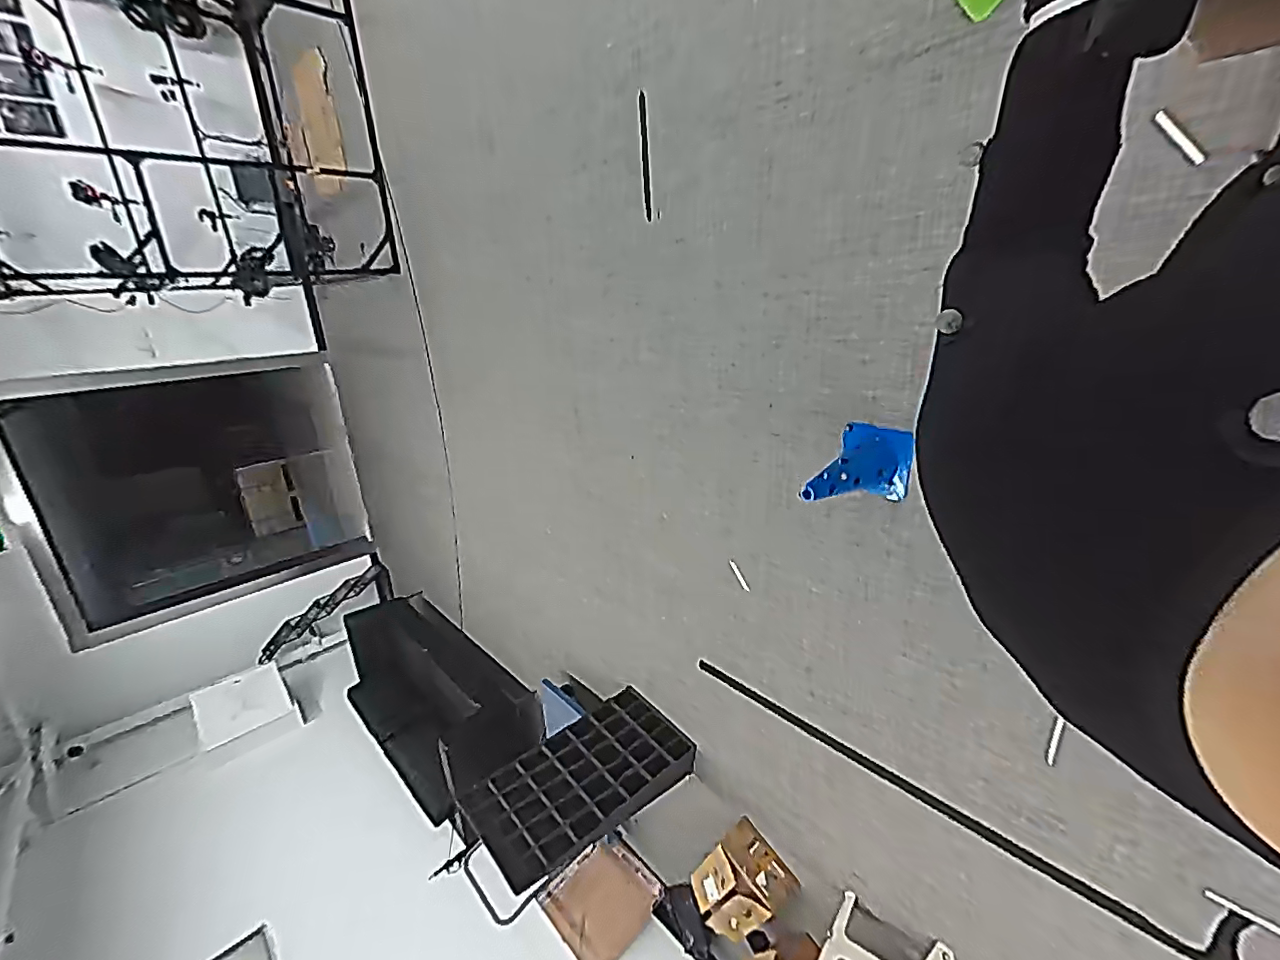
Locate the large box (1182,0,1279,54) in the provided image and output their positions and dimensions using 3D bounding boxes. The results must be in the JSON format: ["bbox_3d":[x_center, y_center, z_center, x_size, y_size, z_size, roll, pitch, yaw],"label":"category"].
[{"bbox_3d":[0.540,-0.462,0.230,0.408,0.320,0.320,15,120,45],"label":"large box"}]

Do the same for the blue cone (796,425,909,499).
[{"bbox_3d":[0.548,-0.013,1.451,0.192,0.380,0.193,22,121,44],"label":"blue cone"}]

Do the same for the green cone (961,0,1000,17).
[{"bbox_3d":[0.579,-1.033,0.960,0.202,0.368,0.200,-40,74,51],"label":"green cone"}]
